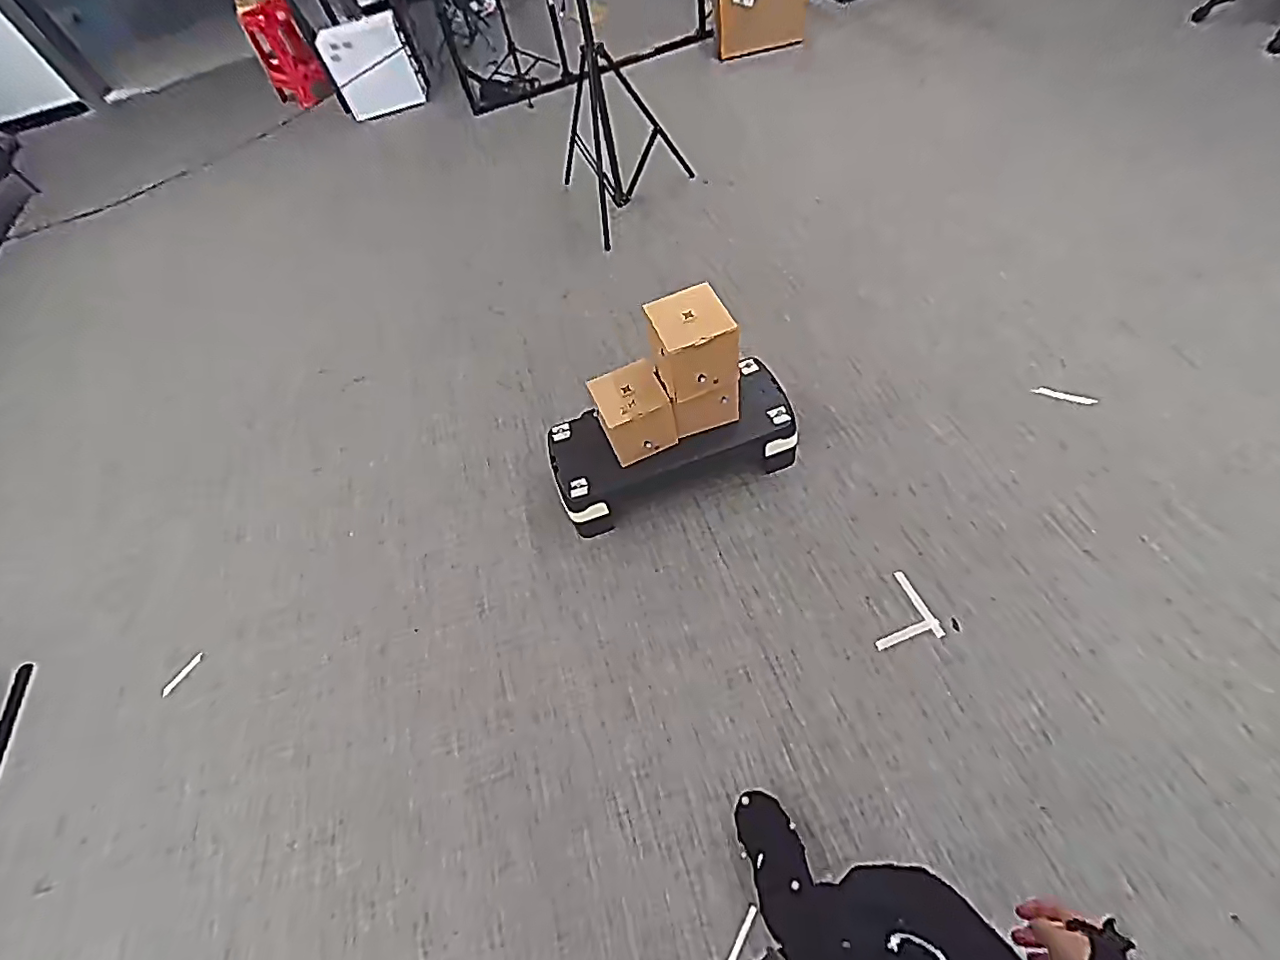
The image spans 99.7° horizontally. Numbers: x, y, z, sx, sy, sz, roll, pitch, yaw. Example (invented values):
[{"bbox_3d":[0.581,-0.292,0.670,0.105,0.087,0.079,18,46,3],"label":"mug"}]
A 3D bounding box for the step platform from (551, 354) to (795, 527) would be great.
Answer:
[{"bbox_3d":[0.089,-0.118,1.565,0.684,0.204,0.286,-20,56,-2],"label":"step platform"}]

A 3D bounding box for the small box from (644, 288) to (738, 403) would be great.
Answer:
[{"bbox_3d":[0.120,-0.315,1.281,0.168,0.176,0.179,-21,57,-4],"label":"small box"}]
